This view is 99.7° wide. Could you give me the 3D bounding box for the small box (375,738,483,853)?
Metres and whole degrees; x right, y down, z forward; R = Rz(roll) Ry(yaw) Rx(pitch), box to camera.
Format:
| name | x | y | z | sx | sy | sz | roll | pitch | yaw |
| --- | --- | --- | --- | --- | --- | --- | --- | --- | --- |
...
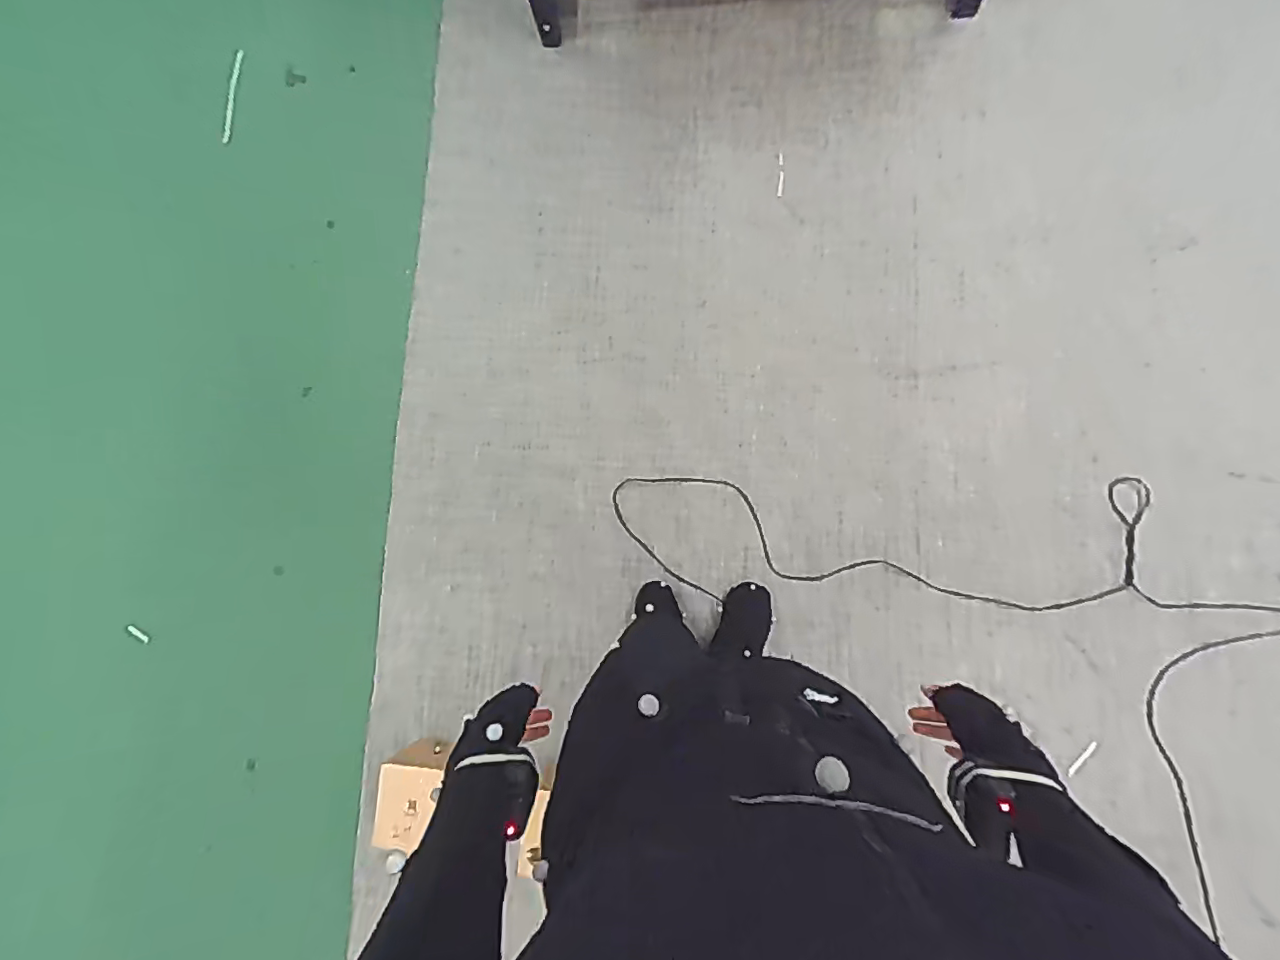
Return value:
| name | x | y | z | sx | sy | sz | roll | pitch | yaw |
| --- | --- | --- | --- | --- | --- | --- | --- | --- | --- |
| small box | -0.478 | 0.718 | 1.251 | 0.168 | 0.176 | 0.179 | 2 | 82 | 8 |
